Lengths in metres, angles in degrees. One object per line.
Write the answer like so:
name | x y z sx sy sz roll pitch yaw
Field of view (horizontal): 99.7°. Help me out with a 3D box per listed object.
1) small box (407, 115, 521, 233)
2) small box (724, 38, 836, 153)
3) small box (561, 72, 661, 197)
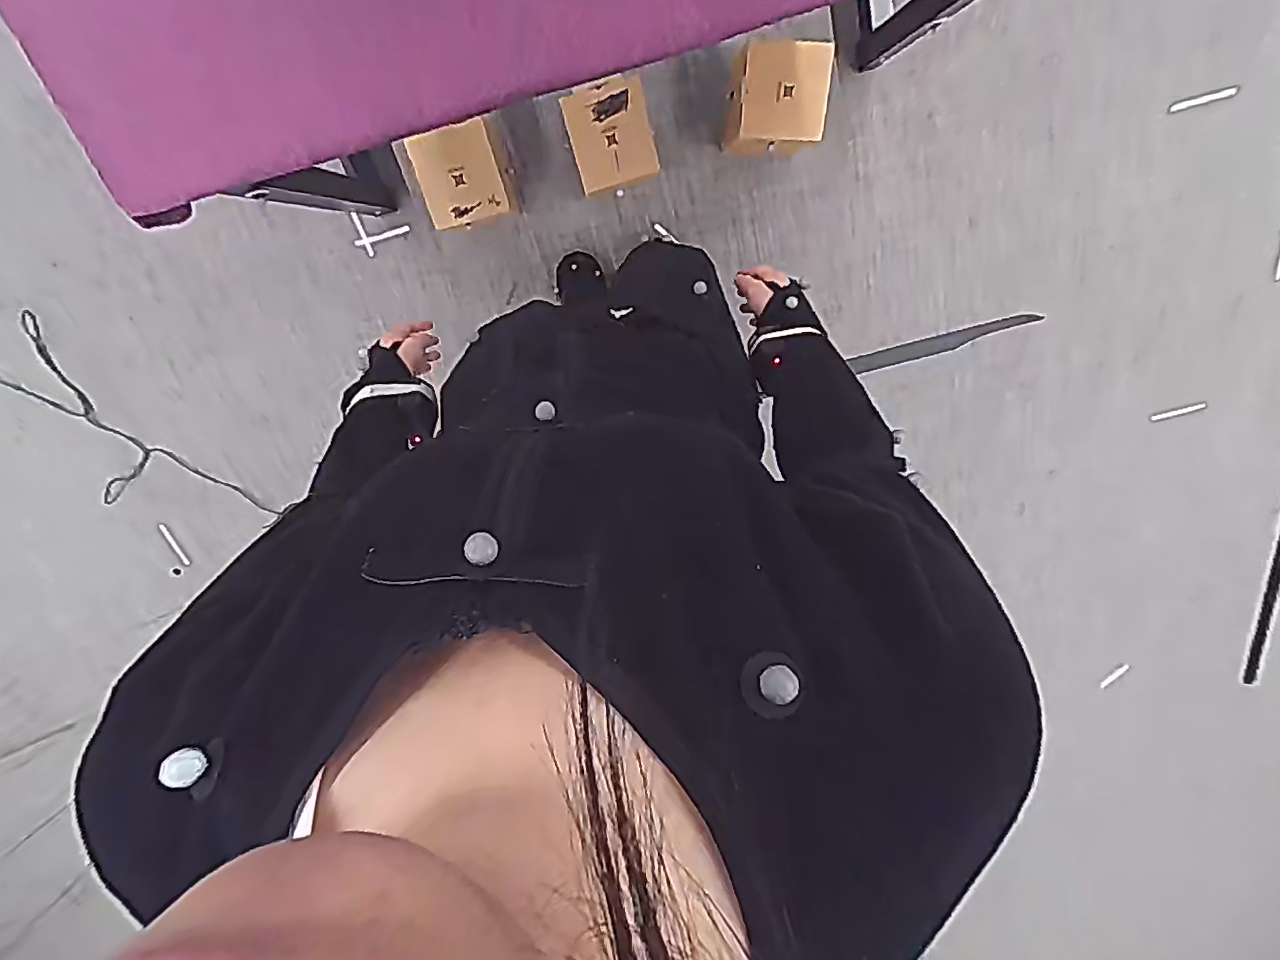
small box | -0.369 -0.648 1.166 0.168 0.176 0.179 -13 112 2
small box | 0.286 -0.803 1.144 0.179 0.176 0.168 1 113 -3
small box | -0.062 -0.724 1.153 0.168 0.176 0.179 -16 114 3
